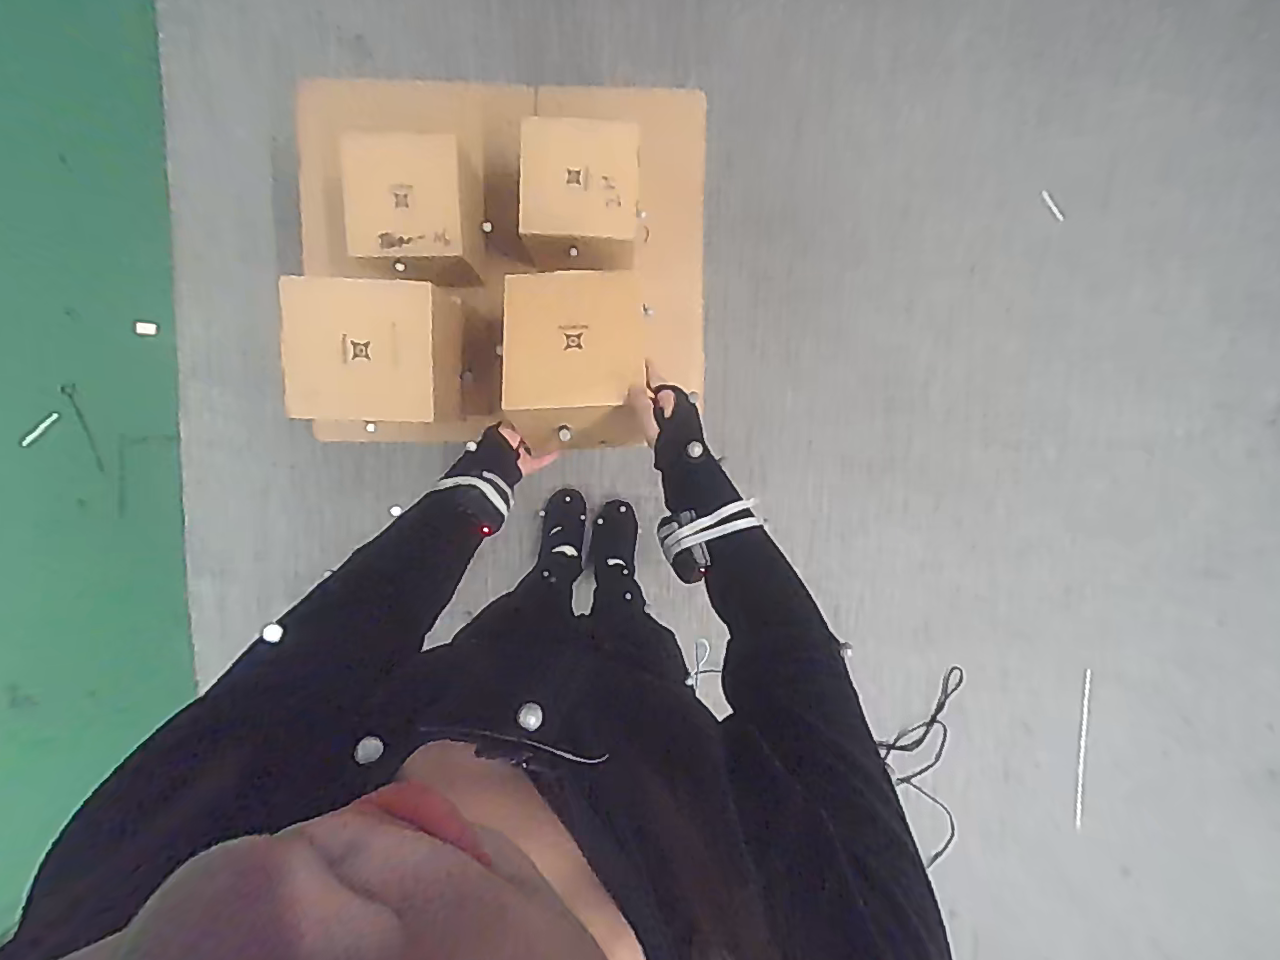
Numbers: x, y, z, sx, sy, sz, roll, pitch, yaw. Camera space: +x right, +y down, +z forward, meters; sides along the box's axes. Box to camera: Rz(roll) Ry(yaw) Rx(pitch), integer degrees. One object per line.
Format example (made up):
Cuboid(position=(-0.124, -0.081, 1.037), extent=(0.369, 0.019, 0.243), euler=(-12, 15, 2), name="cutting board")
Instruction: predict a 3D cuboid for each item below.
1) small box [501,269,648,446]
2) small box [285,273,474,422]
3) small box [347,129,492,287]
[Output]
Cuboid(position=(-0.074, -0.146, 0.702), extent=(0.168, 0.176, 0.179), euler=(-2, 75, 1), name="small box")
Cuboid(position=(-0.332, -0.164, 0.716), extent=(0.179, 0.176, 0.168), euler=(2, 97, -3), name="small box")
Cuboid(position=(-0.337, -0.418, 0.855), extent=(0.168, 0.176, 0.179), euler=(-1, 95, -1), name="small box")
